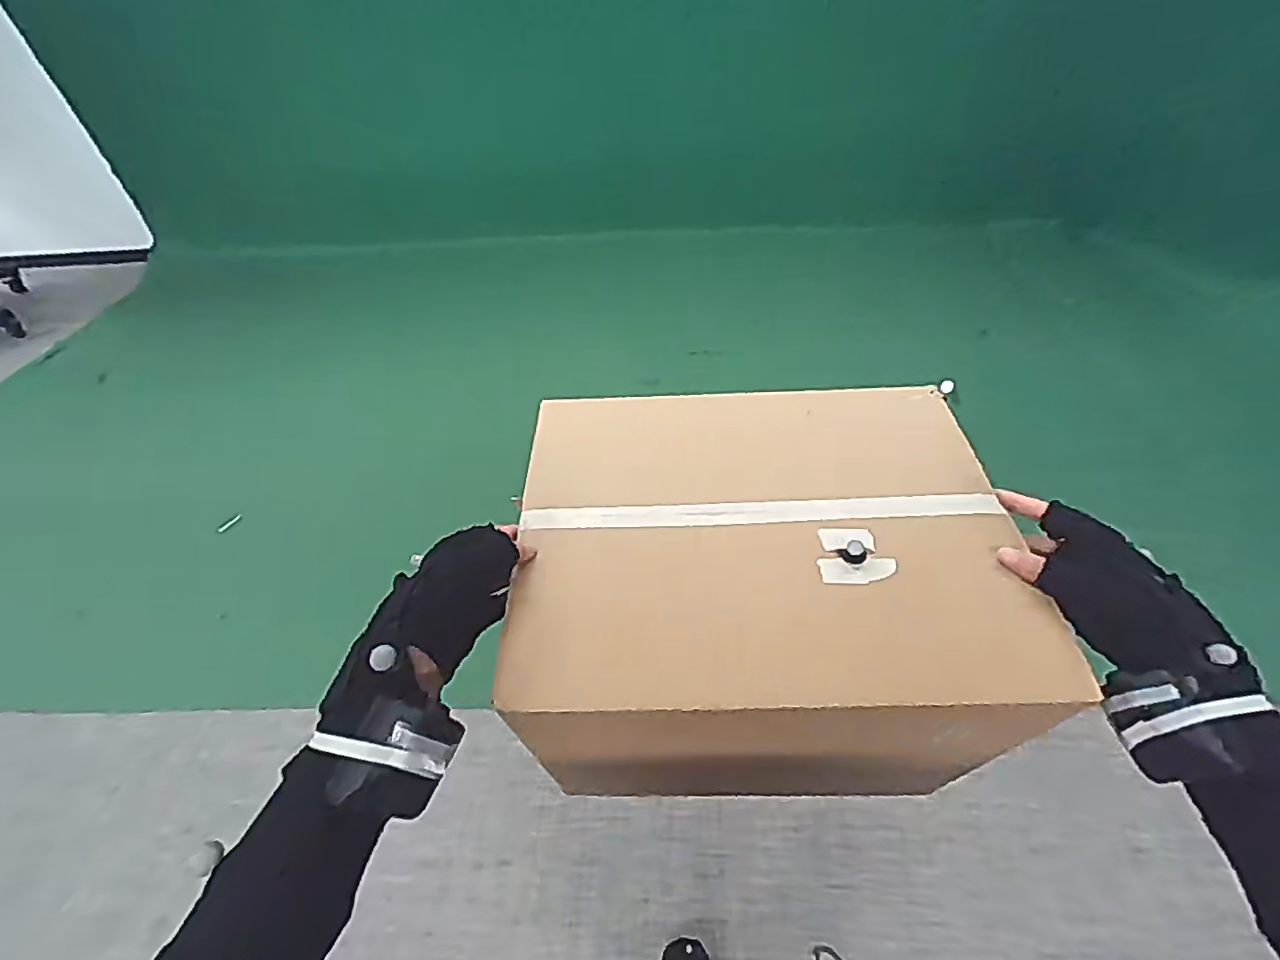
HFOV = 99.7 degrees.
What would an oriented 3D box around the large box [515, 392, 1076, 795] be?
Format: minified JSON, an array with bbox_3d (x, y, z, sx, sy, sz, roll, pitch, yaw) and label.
[{"bbox_3d":[0.111,0.132,0.586,0.408,0.320,0.320,-3,51,2],"label":"large box"}]
